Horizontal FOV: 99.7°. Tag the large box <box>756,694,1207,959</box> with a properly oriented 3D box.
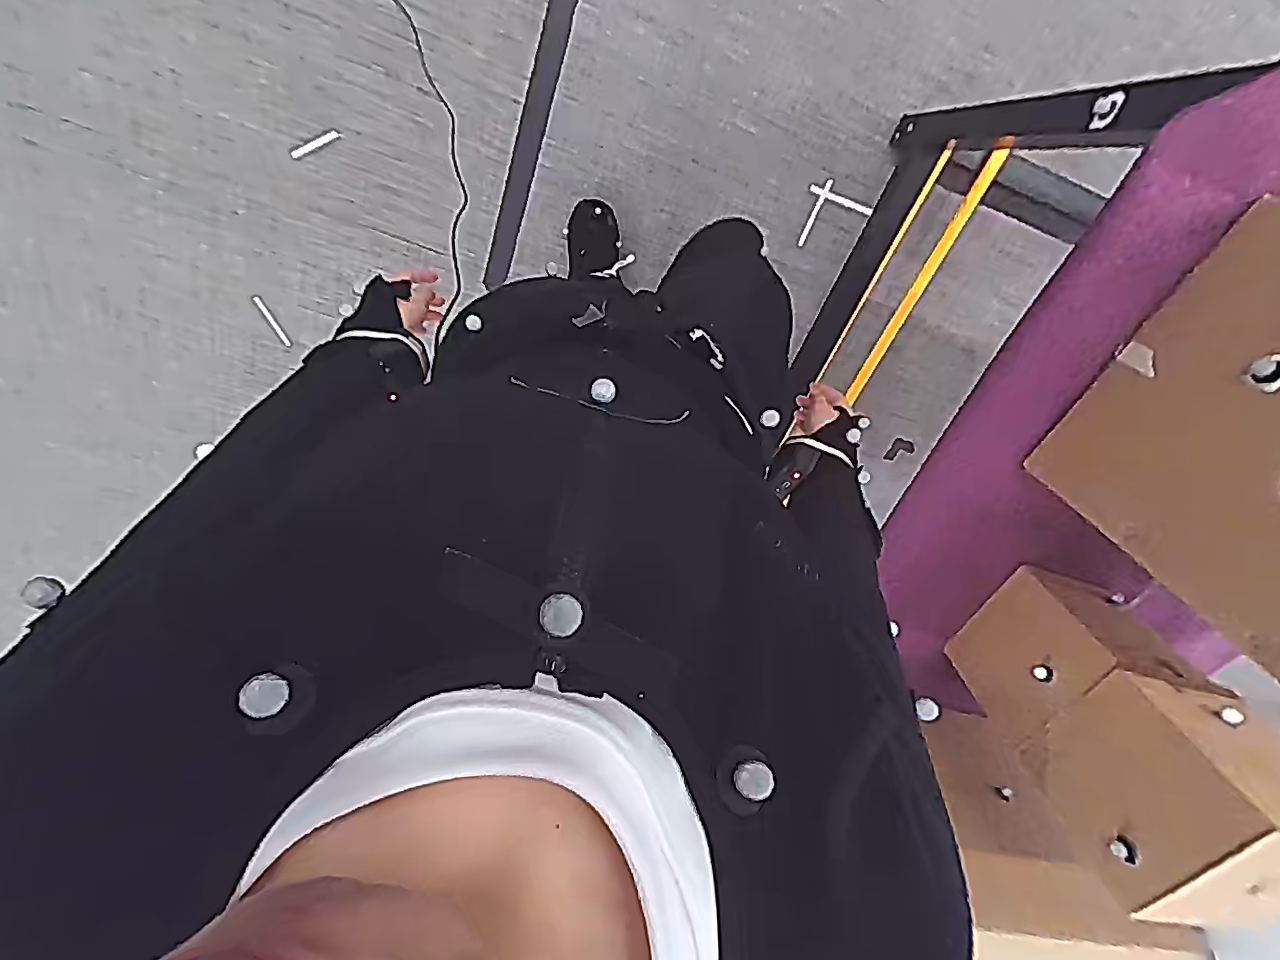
[{"bbox_3d":[0.446,0.568,0.811,0.408,0.320,0.320,16,119,-14],"label":"large box"}]
